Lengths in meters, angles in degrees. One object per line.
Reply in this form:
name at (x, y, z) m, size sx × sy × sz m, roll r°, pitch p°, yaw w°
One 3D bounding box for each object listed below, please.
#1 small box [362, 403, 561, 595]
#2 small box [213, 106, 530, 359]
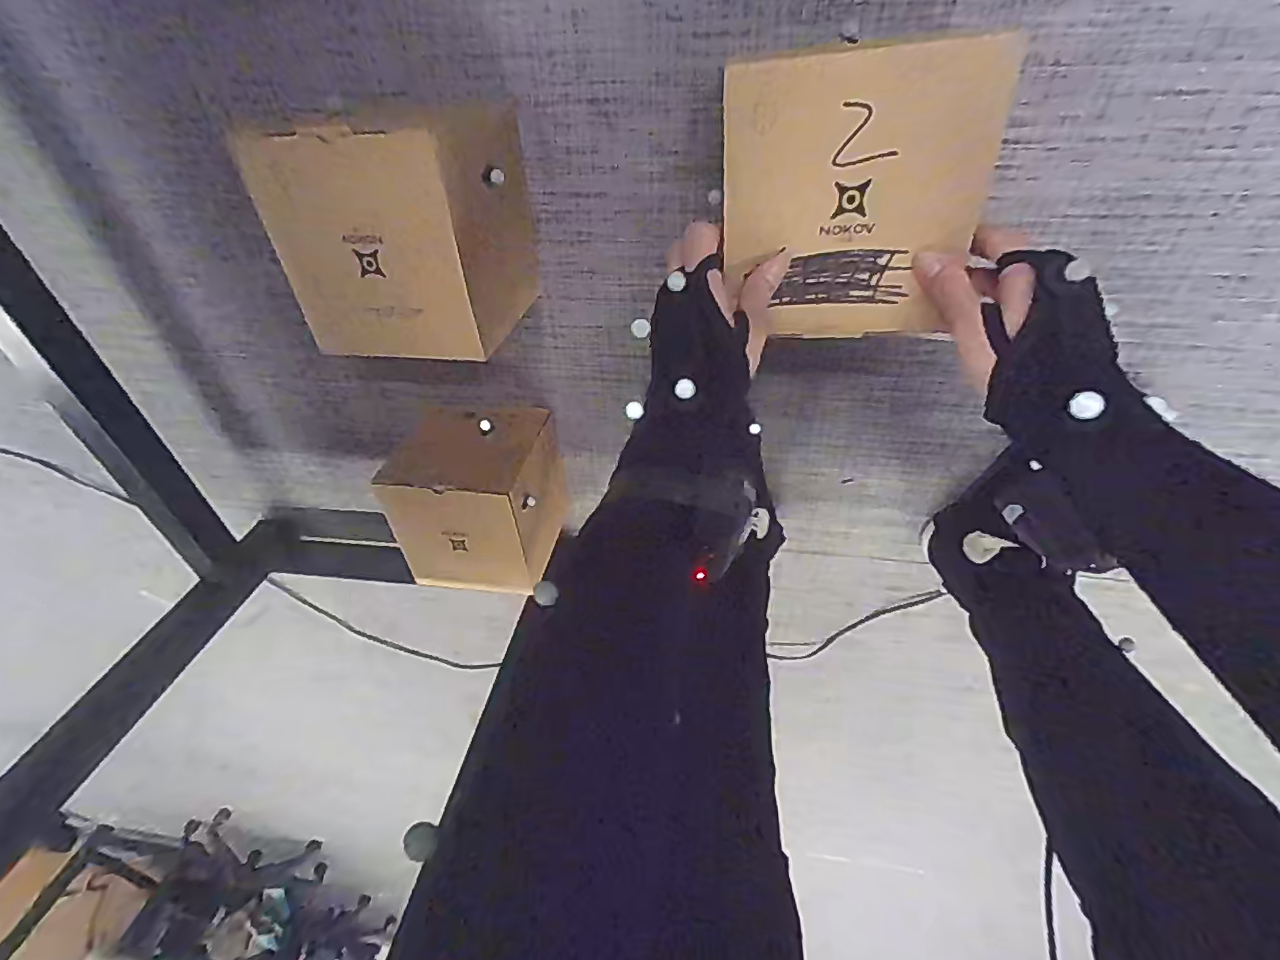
small box at (-0.210, 0.022, 0.698) m, size 0.168 × 0.176 × 0.179 m, roll 3°, pitch 129°, yaw 9°
small box at (-0.214, -0.230, 0.491) m, size 0.168 × 0.176 × 0.179 m, roll 5°, pitch 130°, yaw 9°
